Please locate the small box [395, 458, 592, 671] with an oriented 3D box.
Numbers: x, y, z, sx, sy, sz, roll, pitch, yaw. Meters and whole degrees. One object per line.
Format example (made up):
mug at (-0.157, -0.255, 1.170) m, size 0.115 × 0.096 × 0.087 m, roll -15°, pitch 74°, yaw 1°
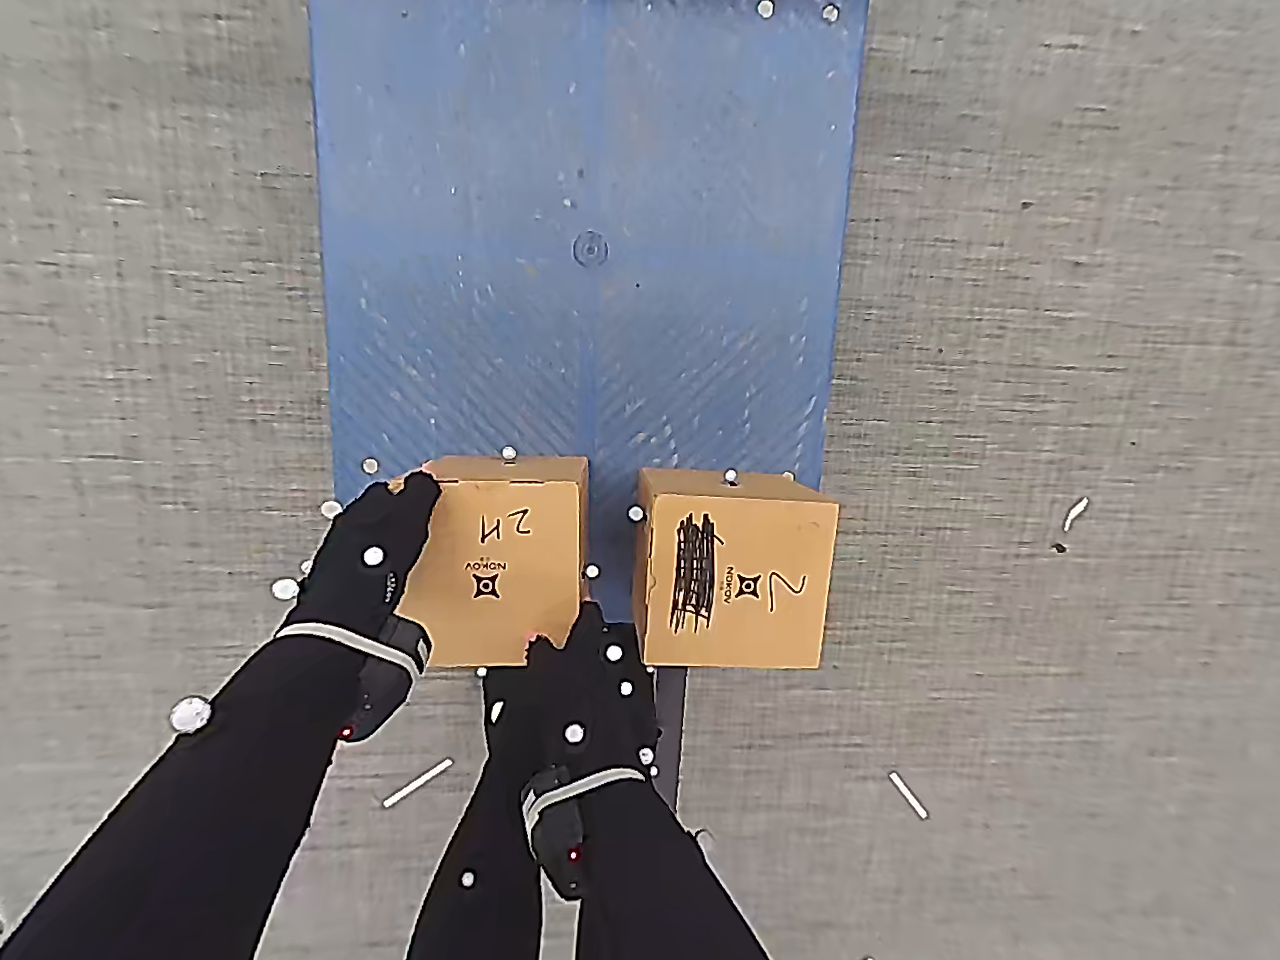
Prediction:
small box at (-0.137, 0.077, 0.564) m, size 0.168 × 0.176 × 0.179 m, roll 1°, pitch 99°, yaw -3°
